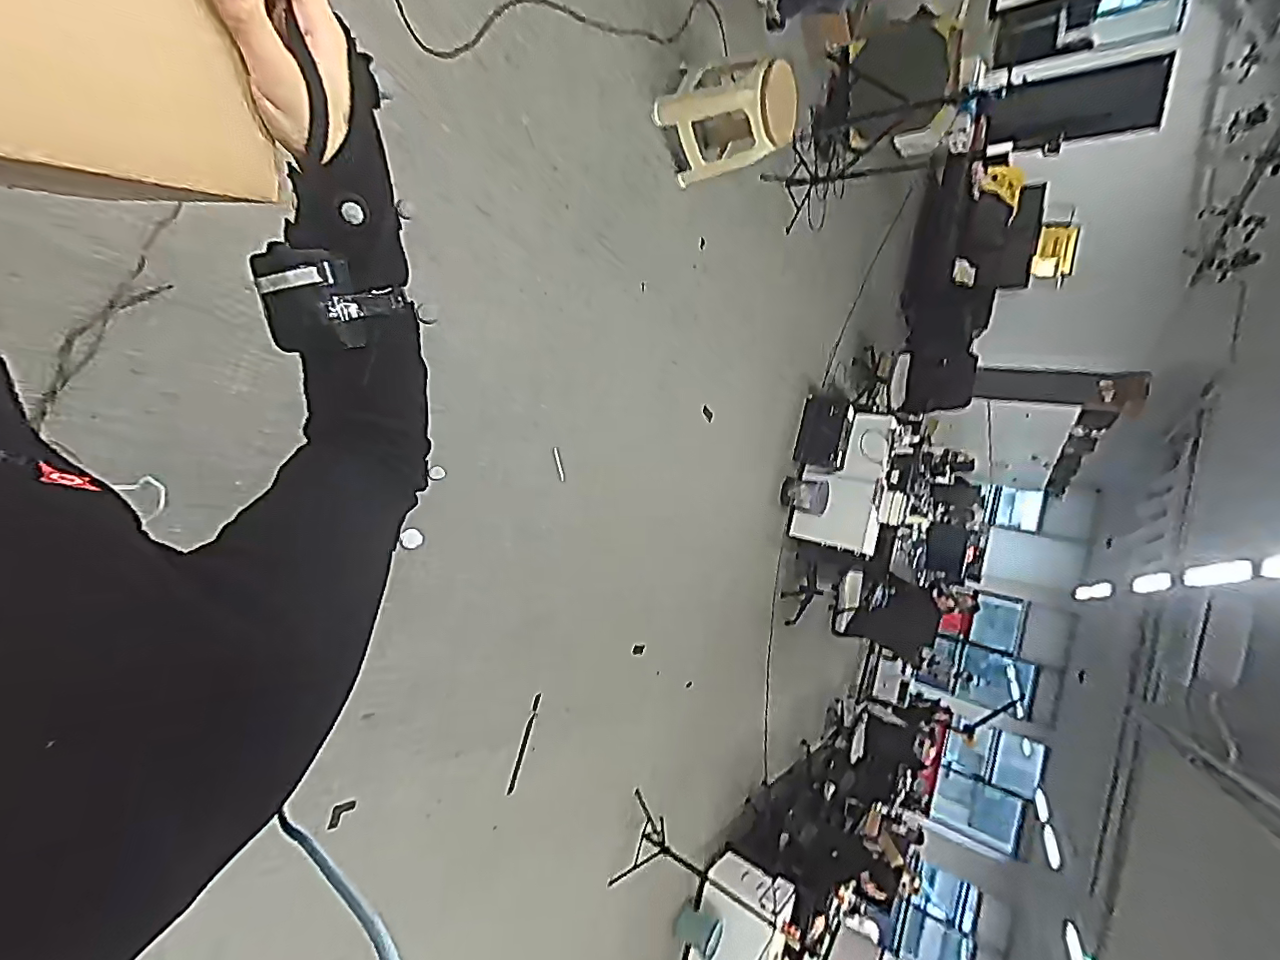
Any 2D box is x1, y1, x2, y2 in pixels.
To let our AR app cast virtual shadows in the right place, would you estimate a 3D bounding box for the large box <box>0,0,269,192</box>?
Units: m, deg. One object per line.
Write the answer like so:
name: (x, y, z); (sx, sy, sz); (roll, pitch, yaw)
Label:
large box: (-0.440, -0.306, 0.190); (0.408, 0.320, 0.320); (-22, 125, -52)
